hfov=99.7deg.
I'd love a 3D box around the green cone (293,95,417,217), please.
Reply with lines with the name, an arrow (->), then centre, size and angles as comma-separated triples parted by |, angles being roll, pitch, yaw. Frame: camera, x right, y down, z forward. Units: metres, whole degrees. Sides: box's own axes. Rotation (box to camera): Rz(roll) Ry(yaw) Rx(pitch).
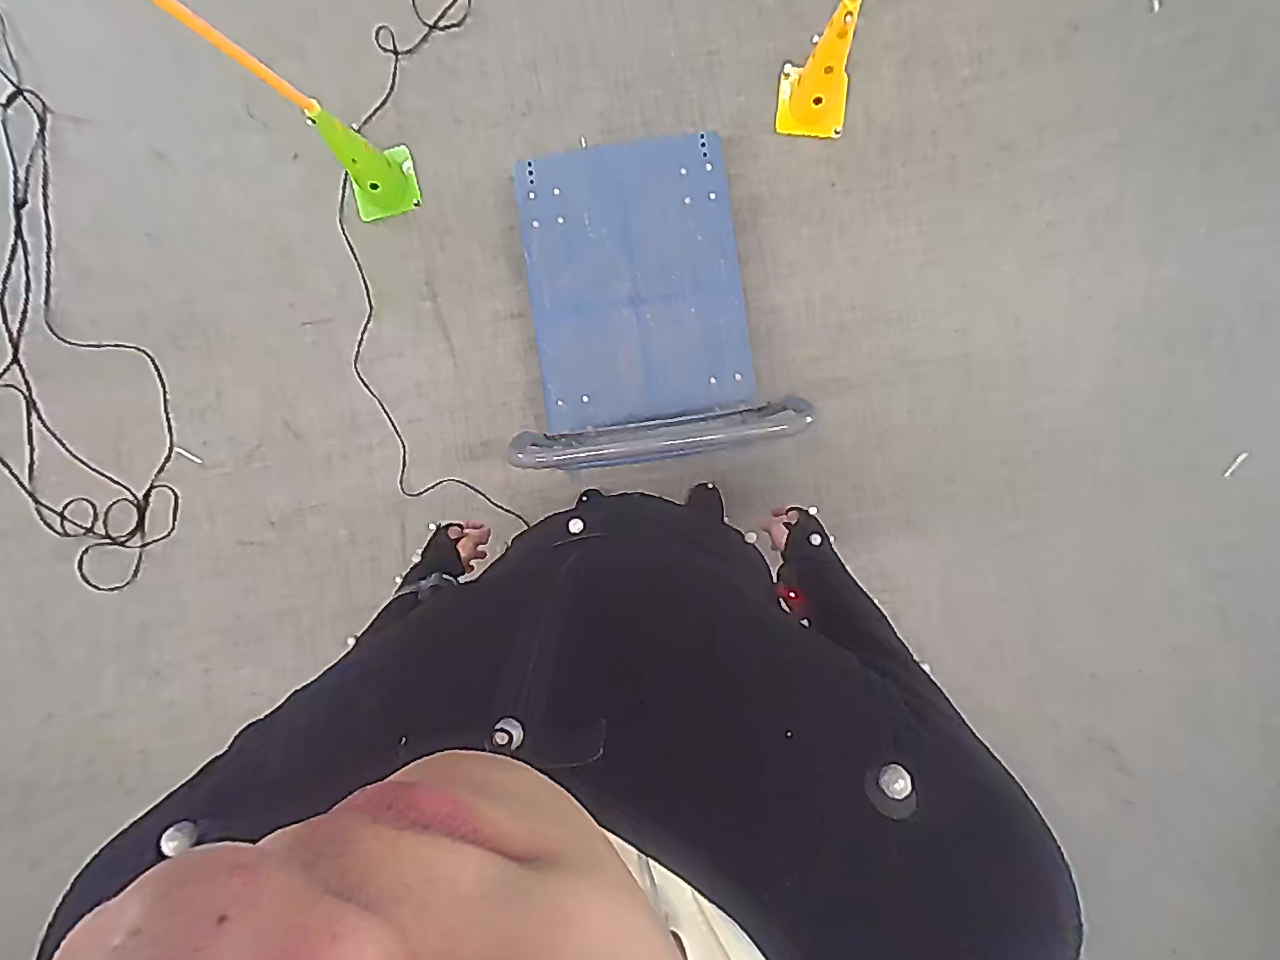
green cone -> -0.815, -0.932, 1.501 | 0.202, 0.368, 0.200 | -15, 89, 4
